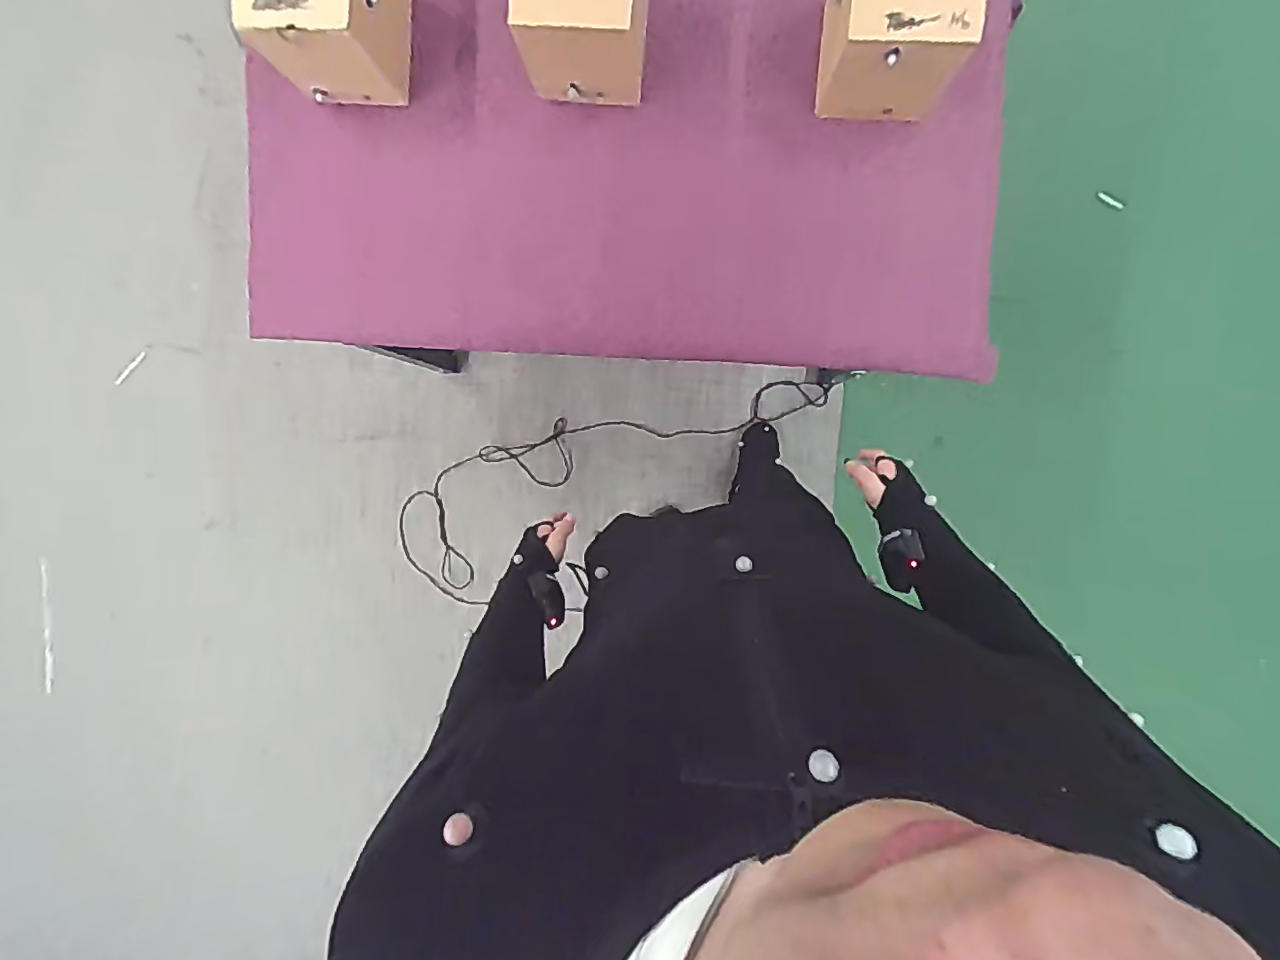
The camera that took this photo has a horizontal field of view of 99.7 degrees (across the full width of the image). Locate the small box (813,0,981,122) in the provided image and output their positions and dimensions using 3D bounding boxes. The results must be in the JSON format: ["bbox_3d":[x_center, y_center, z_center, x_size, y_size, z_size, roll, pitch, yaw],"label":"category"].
[{"bbox_3d":[0.350,-0.642,0.754,0.168,0.176,0.179,4,95,3],"label":"small box"}]

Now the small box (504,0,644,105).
[{"bbox_3d":[-0.084,-0.682,0.770,0.168,0.176,0.179,6,96,3],"label":"small box"}]

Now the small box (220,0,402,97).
[{"bbox_3d":[-0.462,-0.693,0.781,0.168,0.176,0.179,4,96,1],"label":"small box"}]
